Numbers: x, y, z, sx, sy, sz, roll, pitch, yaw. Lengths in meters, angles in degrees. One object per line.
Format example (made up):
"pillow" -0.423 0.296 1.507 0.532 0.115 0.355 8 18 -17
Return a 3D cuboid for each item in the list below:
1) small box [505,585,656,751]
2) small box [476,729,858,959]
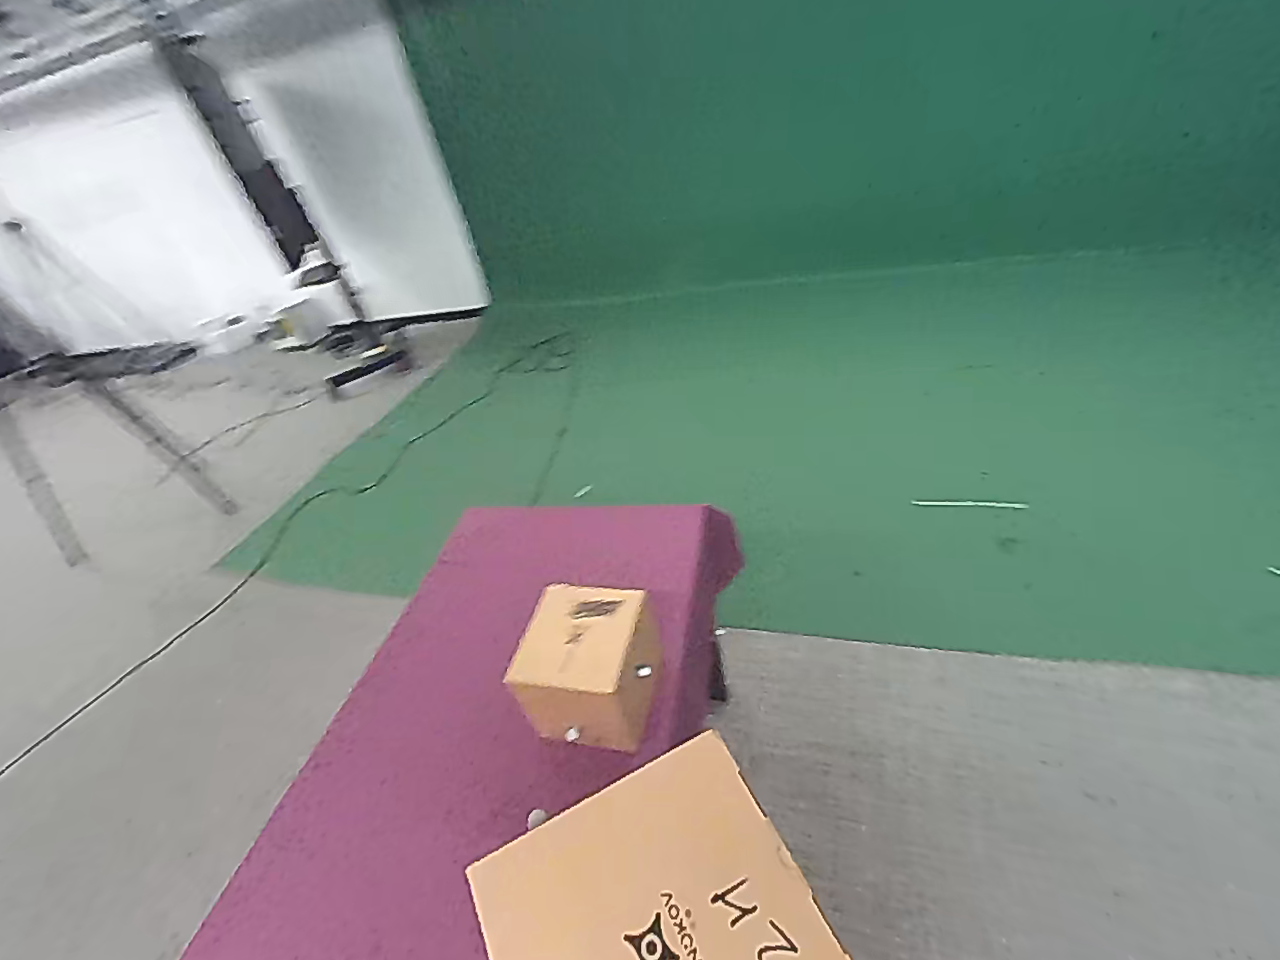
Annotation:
"small box" -0.078 0.288 0.843 0.168 0.176 0.179 -1 40 18
"small box" 0.014 0.303 0.353 0.179 0.176 0.168 -19 53 -19
